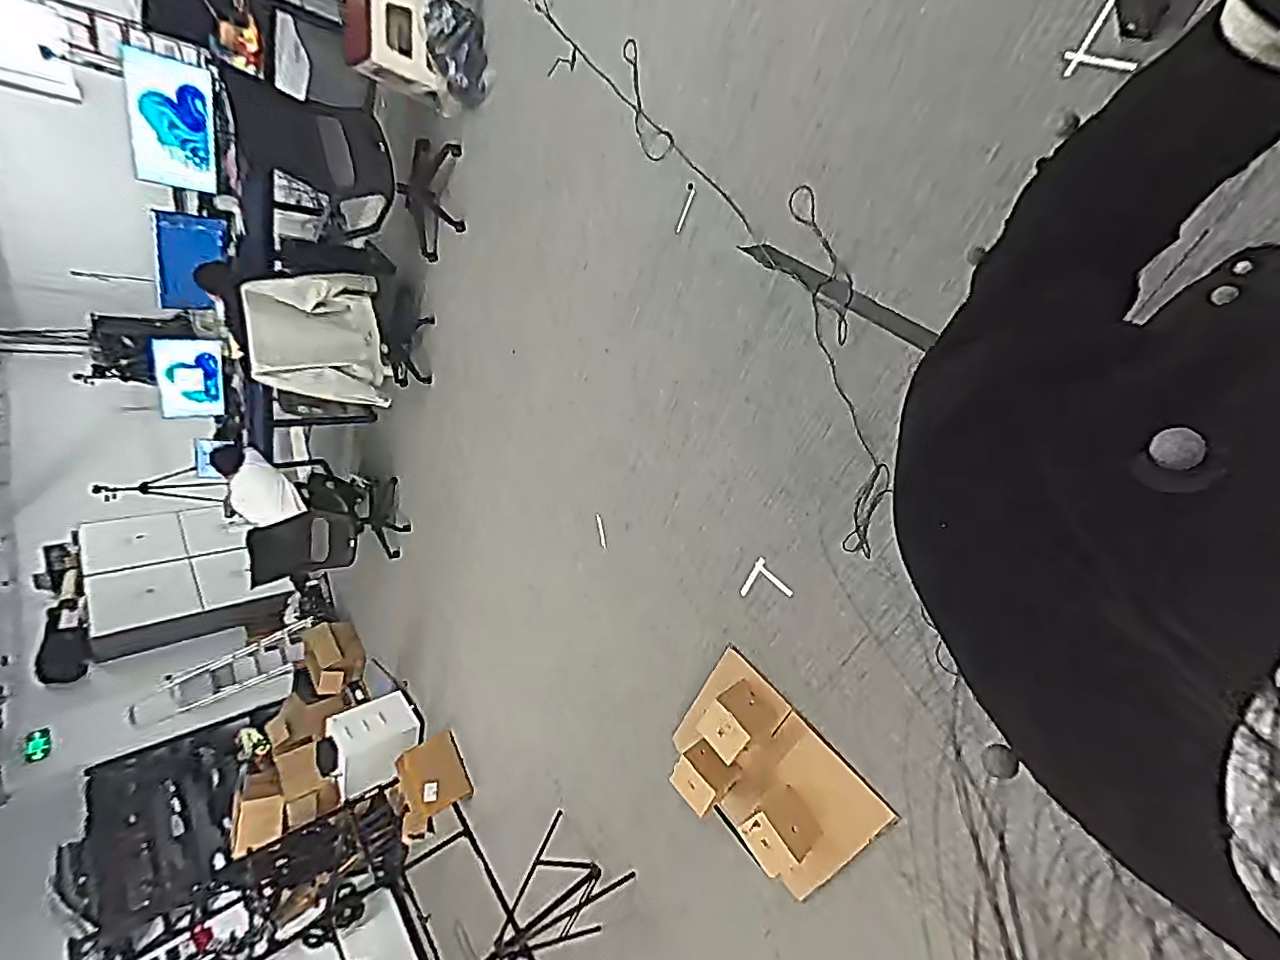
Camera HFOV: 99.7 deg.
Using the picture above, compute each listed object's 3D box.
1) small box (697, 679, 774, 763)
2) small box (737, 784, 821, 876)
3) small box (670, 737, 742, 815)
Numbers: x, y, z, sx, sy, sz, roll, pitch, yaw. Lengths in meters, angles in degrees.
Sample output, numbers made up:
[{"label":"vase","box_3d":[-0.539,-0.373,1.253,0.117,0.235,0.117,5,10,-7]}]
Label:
[{"label":"small box","box_3d":[0.336,0.834,1.883,0.168,0.176,0.179,43,124,30]},{"label":"small box","box_3d":[0.469,1.168,1.810,0.179,0.176,0.168,50,129,25]},{"label":"small box","box_3d":[0.249,1.095,2.024,0.179,0.176,0.168,39,124,34]}]
